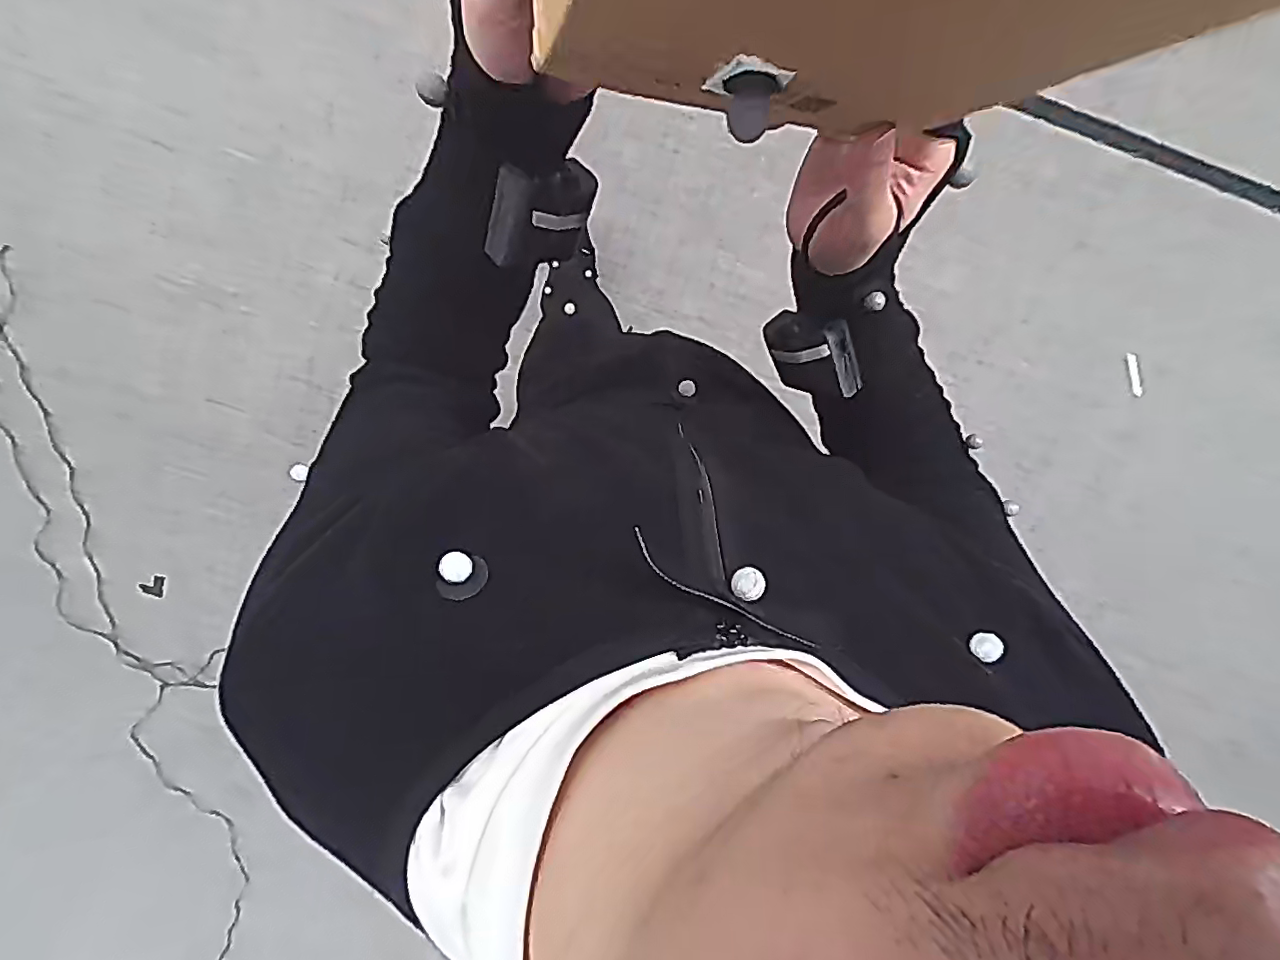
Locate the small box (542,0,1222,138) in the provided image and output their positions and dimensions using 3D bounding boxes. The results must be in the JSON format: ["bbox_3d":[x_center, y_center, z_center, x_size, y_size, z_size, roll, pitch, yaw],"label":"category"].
[{"bbox_3d":[0.066,-0.217,0.136,0.168,0.176,0.179,-5,109,-18],"label":"small box"}]
